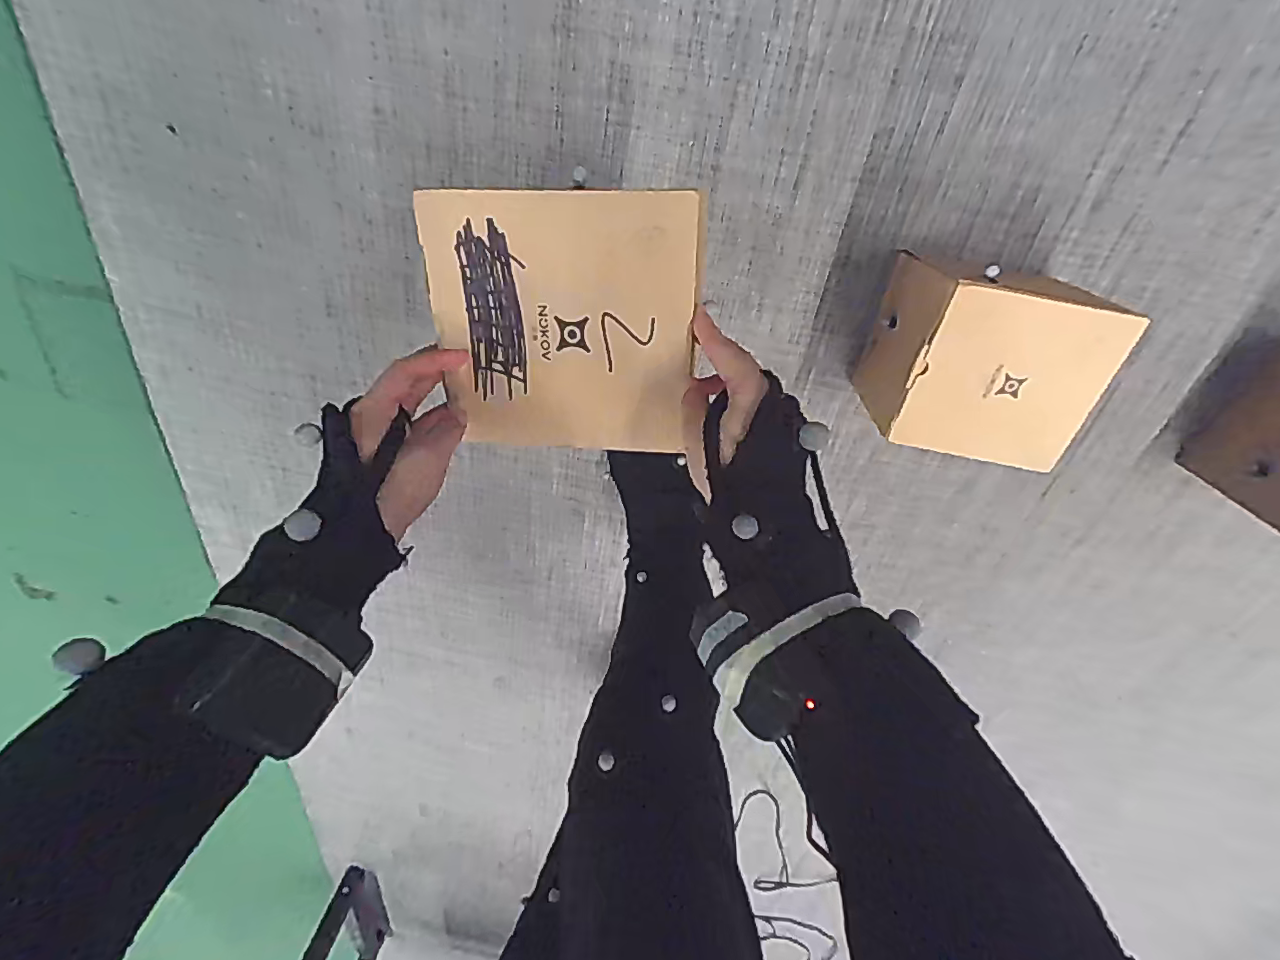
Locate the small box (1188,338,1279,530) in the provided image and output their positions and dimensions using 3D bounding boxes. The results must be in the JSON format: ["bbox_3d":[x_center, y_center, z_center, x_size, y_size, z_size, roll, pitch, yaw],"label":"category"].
[{"bbox_3d":[0.779,-0.039,0.593,0.168,0.176,0.179,14,121,-3],"label":"small box"}]

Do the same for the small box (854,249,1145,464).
[{"bbox_3d":[0.360,-0.141,0.587,0.179,0.176,0.168,11,123,1],"label":"small box"}]
